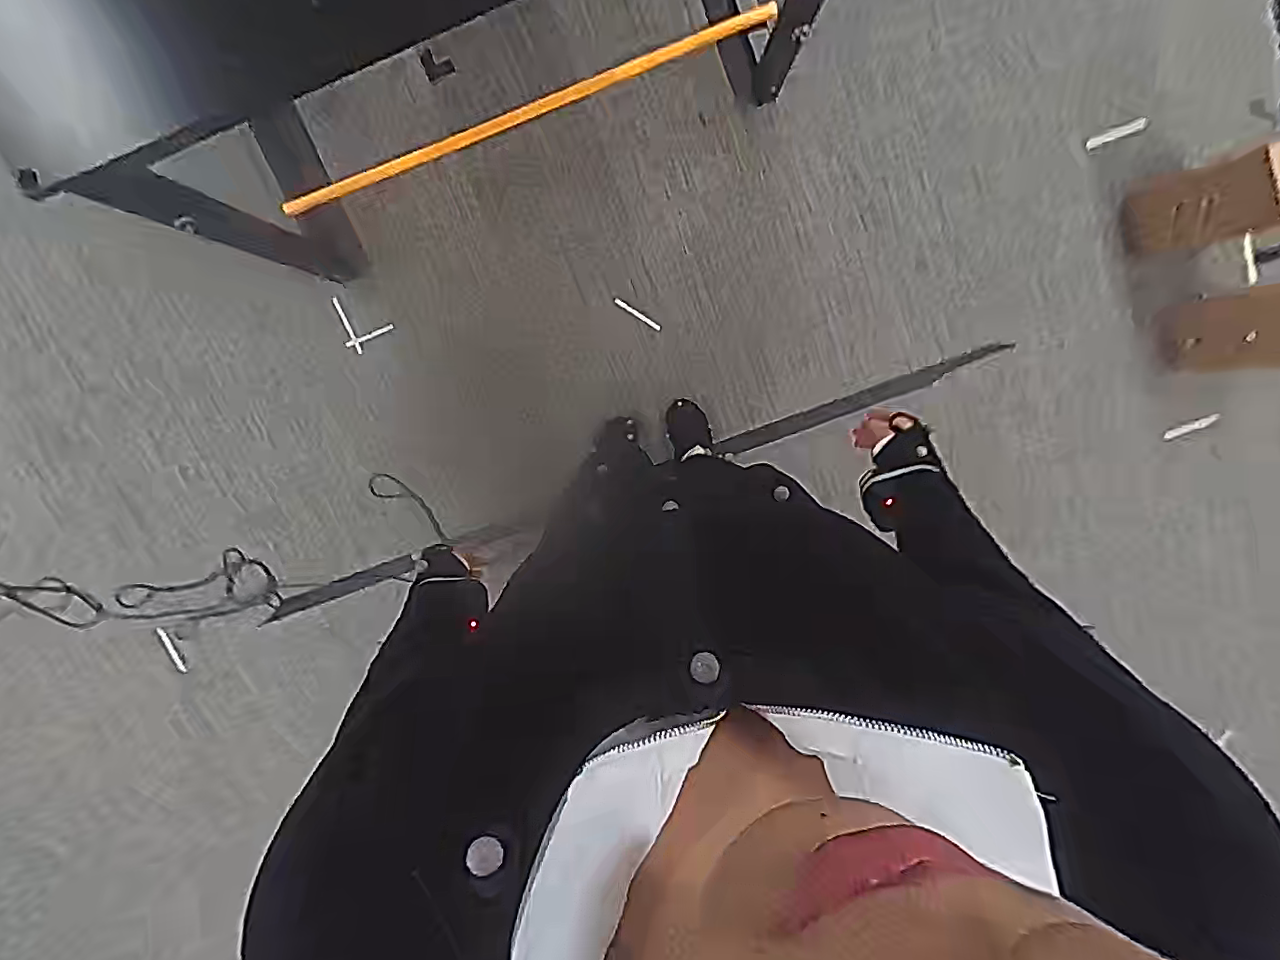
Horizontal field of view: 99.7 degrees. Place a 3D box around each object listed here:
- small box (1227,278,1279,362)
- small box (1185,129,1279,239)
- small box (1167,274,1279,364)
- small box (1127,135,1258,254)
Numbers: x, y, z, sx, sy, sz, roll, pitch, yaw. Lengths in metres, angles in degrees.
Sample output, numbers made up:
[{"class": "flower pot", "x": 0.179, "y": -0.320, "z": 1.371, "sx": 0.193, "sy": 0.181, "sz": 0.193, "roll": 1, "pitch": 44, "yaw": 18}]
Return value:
[{"class": "small box", "x": 1.473, "y": -0.366, "z": 1.190, "sx": 0.179, "sy": 0.176, "sz": 0.168, "roll": -20, "pitch": 100, "yaw": 4}, {"class": "small box", "x": 1.329, "y": -0.640, "z": 1.139, "sx": 0.179, "sy": 0.176, "sz": 0.168, "roll": -25, "pitch": 98, "yaw": 5}, {"class": "small box", "x": 1.480, "y": -0.396, "z": 1.354, "sx": 0.179, "sy": 0.176, "sz": 0.168, "roll": -21, "pitch": 100, "yaw": 4}, {"class": "small box", "x": 1.329, "y": -0.674, "z": 1.298, "sx": 0.168, "sy": 0.176, "sz": 0.179, "roll": -23, "pitch": 100, "yaw": 4}]
